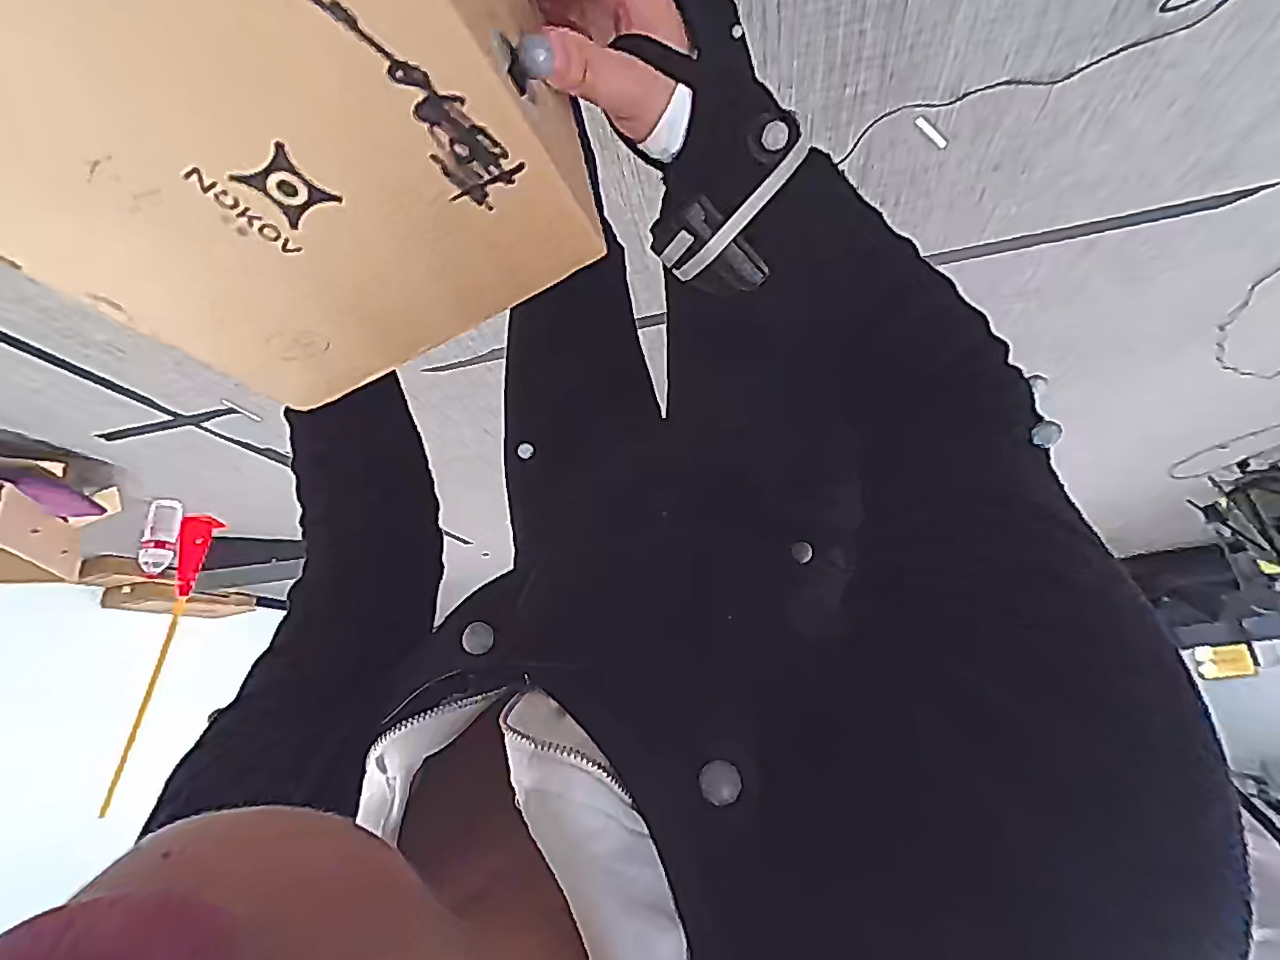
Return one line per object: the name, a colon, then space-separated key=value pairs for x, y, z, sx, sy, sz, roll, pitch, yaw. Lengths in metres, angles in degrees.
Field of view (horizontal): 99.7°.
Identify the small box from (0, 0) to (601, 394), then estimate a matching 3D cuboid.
small box: x=-0.136 y=-0.170 z=0.218 sx=0.179 sy=0.176 sz=0.168 roll=-20 pitch=153 yaw=16
